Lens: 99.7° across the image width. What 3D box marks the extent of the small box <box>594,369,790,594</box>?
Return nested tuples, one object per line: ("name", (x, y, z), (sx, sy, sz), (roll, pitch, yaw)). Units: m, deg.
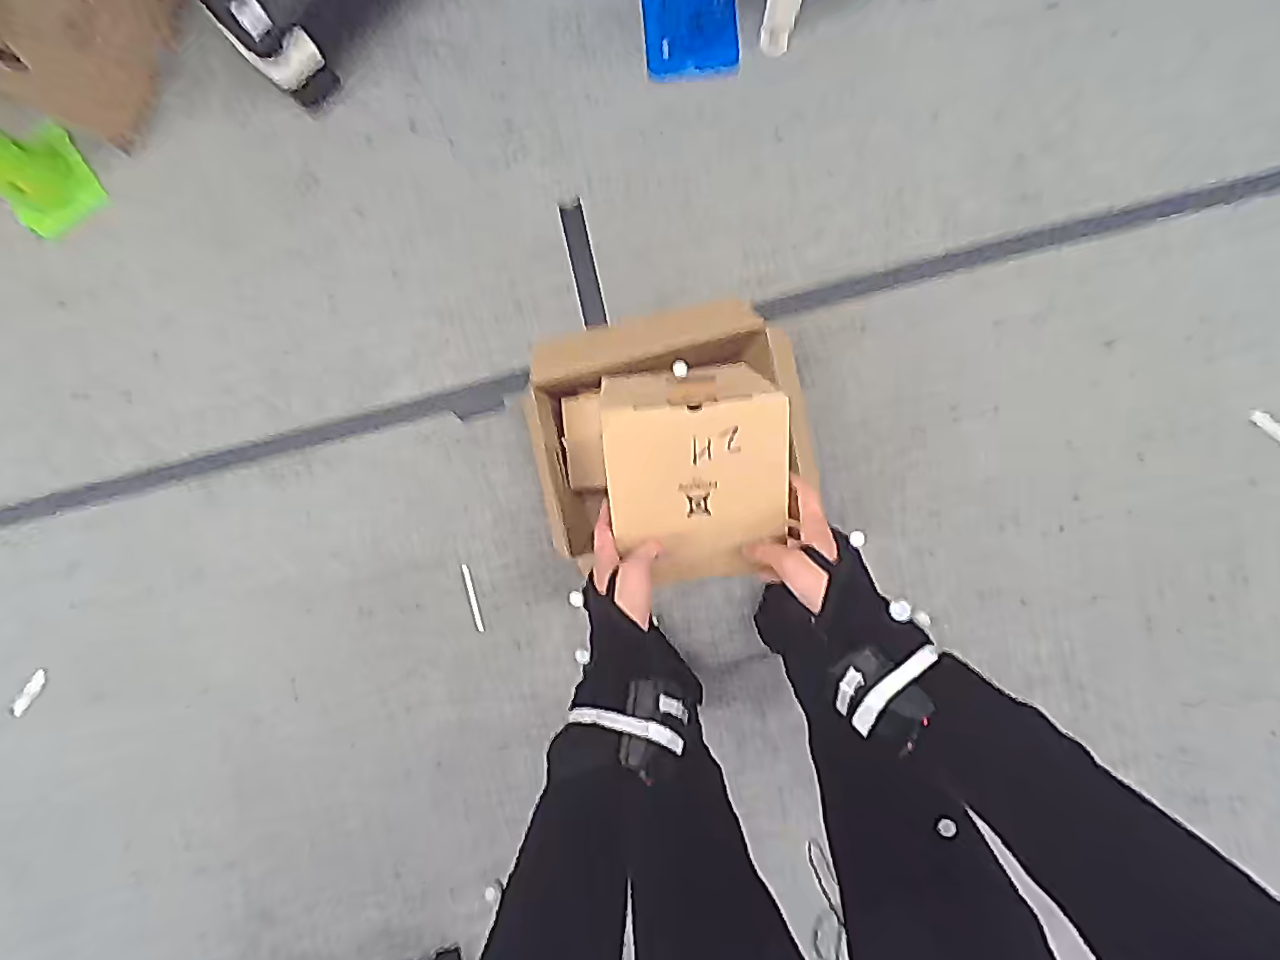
("small box", (0.046, -0.008, 0.551), (0.168, 0.176, 0.179), (-6, 110, -1))
